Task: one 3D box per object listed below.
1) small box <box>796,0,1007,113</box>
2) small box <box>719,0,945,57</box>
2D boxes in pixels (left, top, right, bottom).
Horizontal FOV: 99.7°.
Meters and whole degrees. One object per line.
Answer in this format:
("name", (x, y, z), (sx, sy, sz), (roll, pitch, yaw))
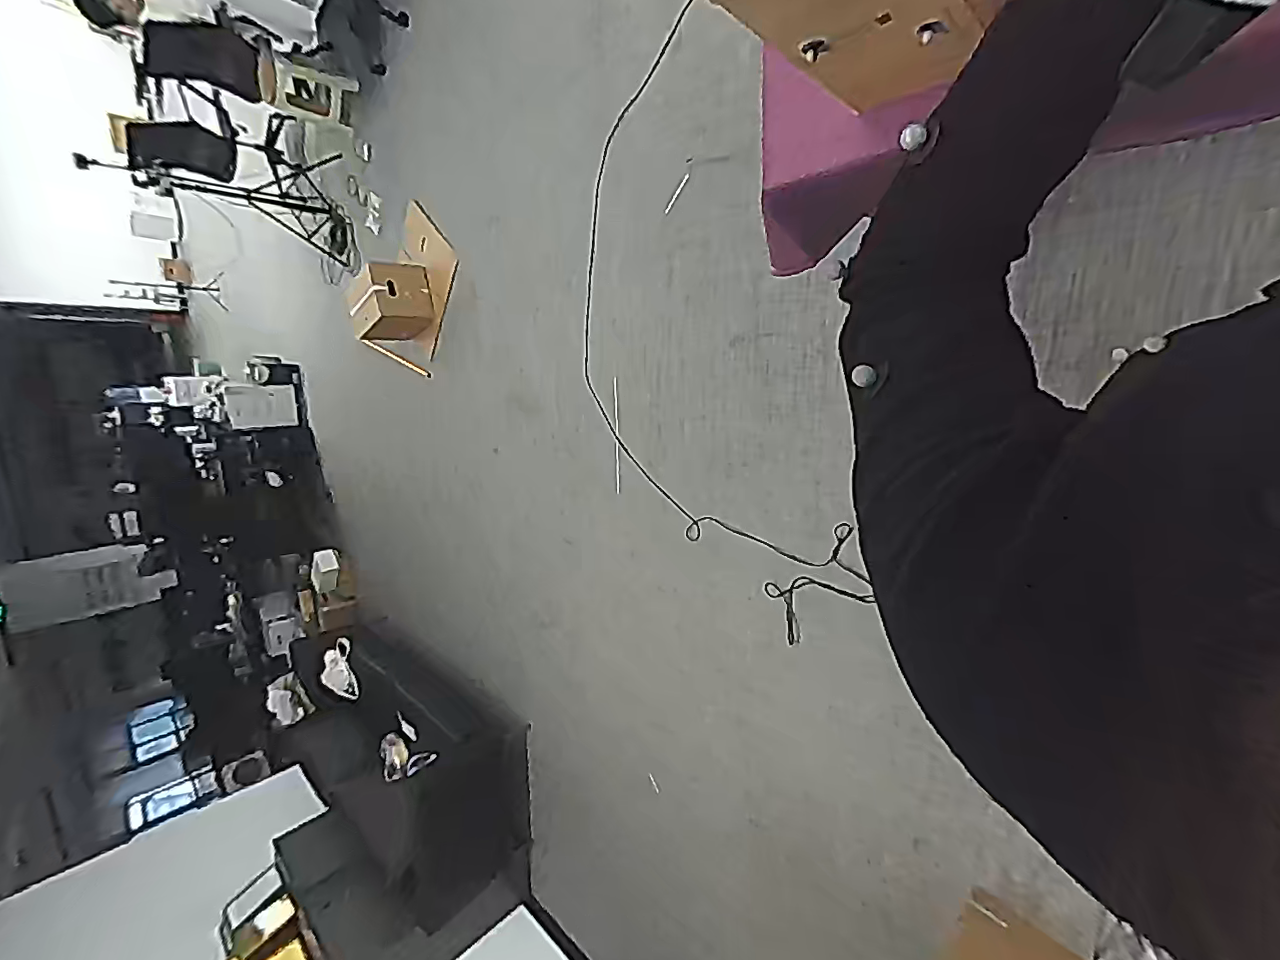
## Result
("small box", (0.297, -0.555, 0.612), (0.179, 0.176, 0.168), (8, 104, 42))
("small box", (0.185, -0.533, 0.494), (0.168, 0.176, 0.179), (8, 102, 42))
